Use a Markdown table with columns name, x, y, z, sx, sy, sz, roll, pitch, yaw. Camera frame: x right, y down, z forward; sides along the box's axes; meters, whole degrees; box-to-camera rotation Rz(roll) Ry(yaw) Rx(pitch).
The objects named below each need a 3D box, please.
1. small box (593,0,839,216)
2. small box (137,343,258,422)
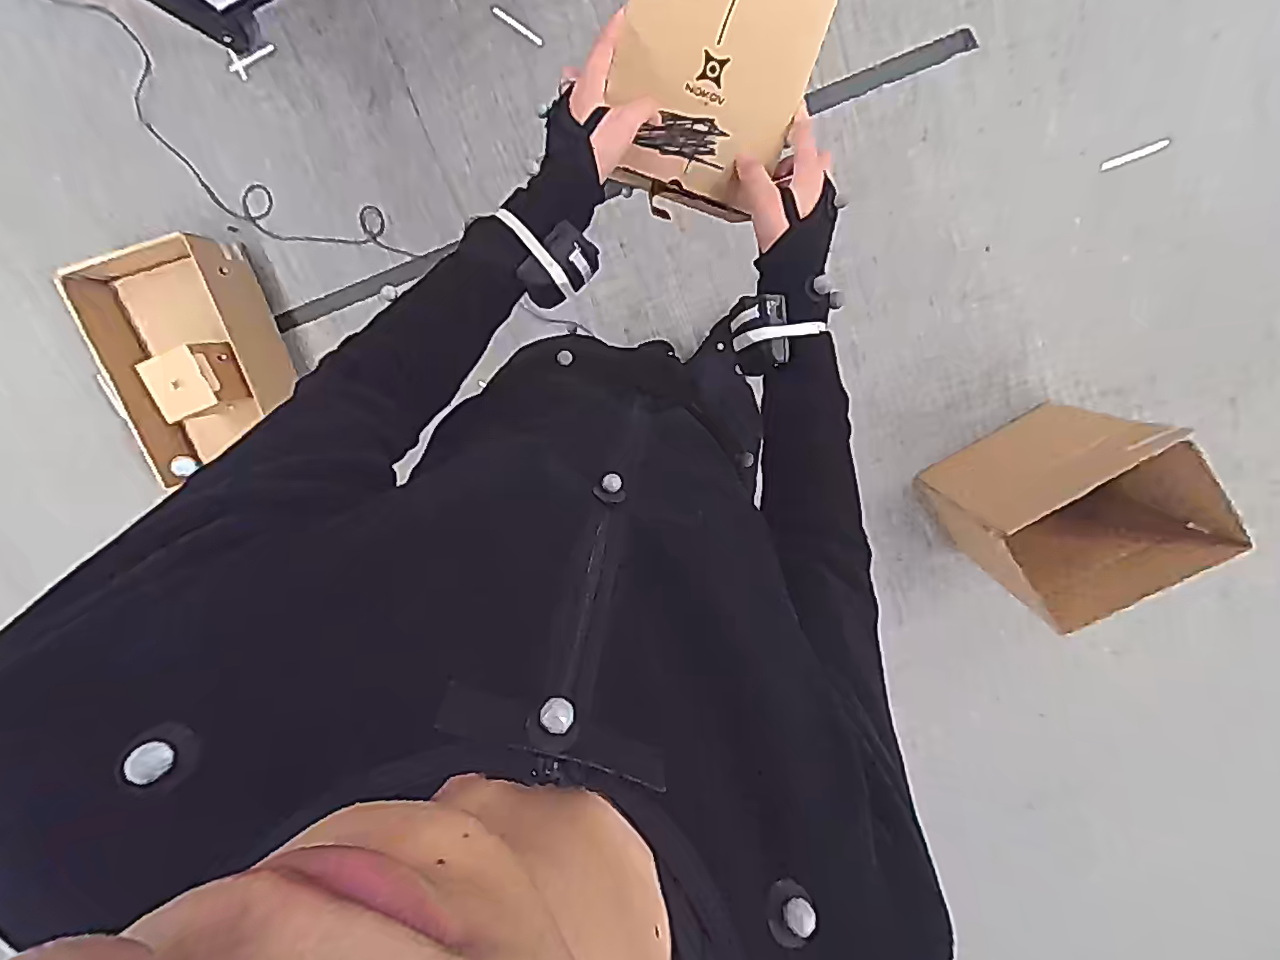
| name | x | y | z | sx | sy | sz | roll | pitch | yaw |
| --- | --- | --- | --- | --- | --- | --- | --- | --- | --- |
| small box | 0.062 | -0.376 | 0.533 | 0.168 | 0.176 | 0.179 | 16 | 113 | -6 |
| small box | -1.214 | -0.278 | 1.505 | 0.179 | 0.176 | 0.168 | -18 | 103 | 9 |
